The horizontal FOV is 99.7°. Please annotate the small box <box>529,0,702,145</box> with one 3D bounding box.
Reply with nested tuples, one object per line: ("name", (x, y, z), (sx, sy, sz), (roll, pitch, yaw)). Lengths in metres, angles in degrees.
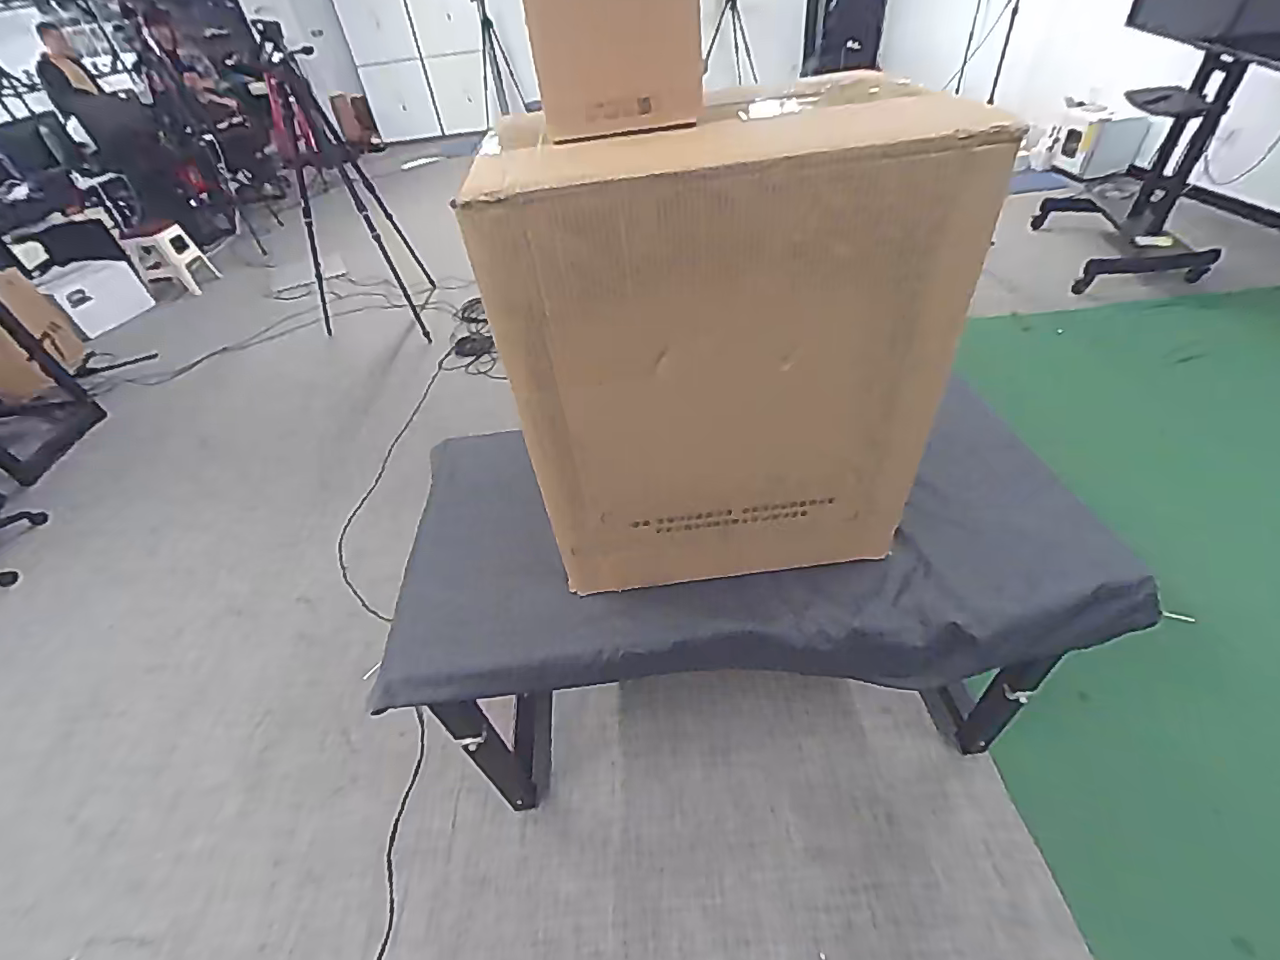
("small box", (-0.024, -0.480, 0.590), (0.168, 0.176, 0.179), (-6, 41, 3))
